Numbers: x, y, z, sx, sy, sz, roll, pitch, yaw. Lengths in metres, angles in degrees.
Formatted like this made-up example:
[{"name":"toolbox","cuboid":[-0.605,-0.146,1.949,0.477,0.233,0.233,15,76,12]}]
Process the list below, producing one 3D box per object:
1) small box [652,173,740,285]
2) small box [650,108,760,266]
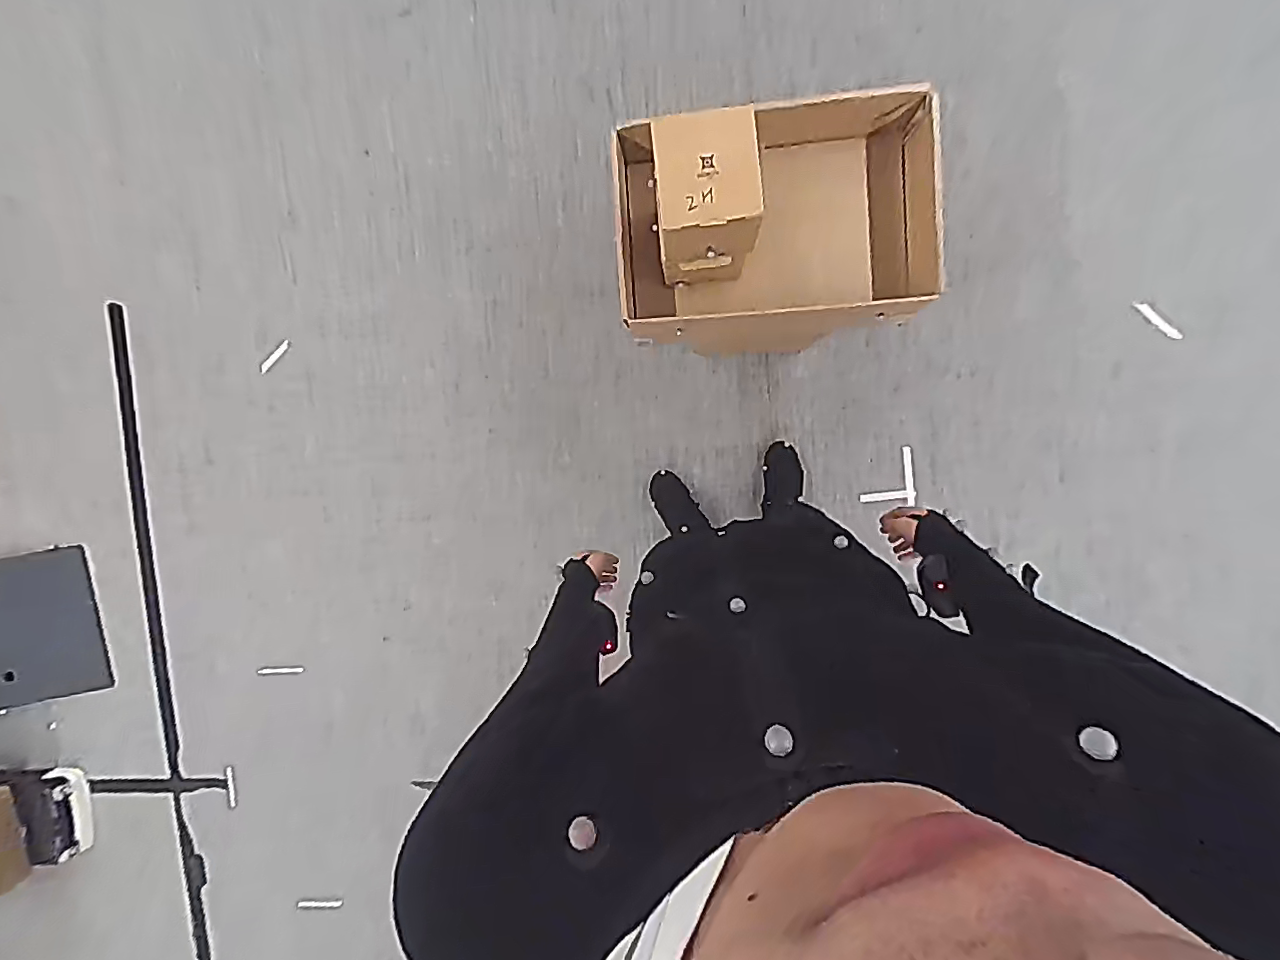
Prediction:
[{"name":"small box","cuboid":[0.117,-0.510,1.104,0.168,0.176,0.179,-5,92,5]},{"name":"small box","cuboid":[0.110,-0.497,0.940,0.168,0.176,0.179,-6,93,6]}]
